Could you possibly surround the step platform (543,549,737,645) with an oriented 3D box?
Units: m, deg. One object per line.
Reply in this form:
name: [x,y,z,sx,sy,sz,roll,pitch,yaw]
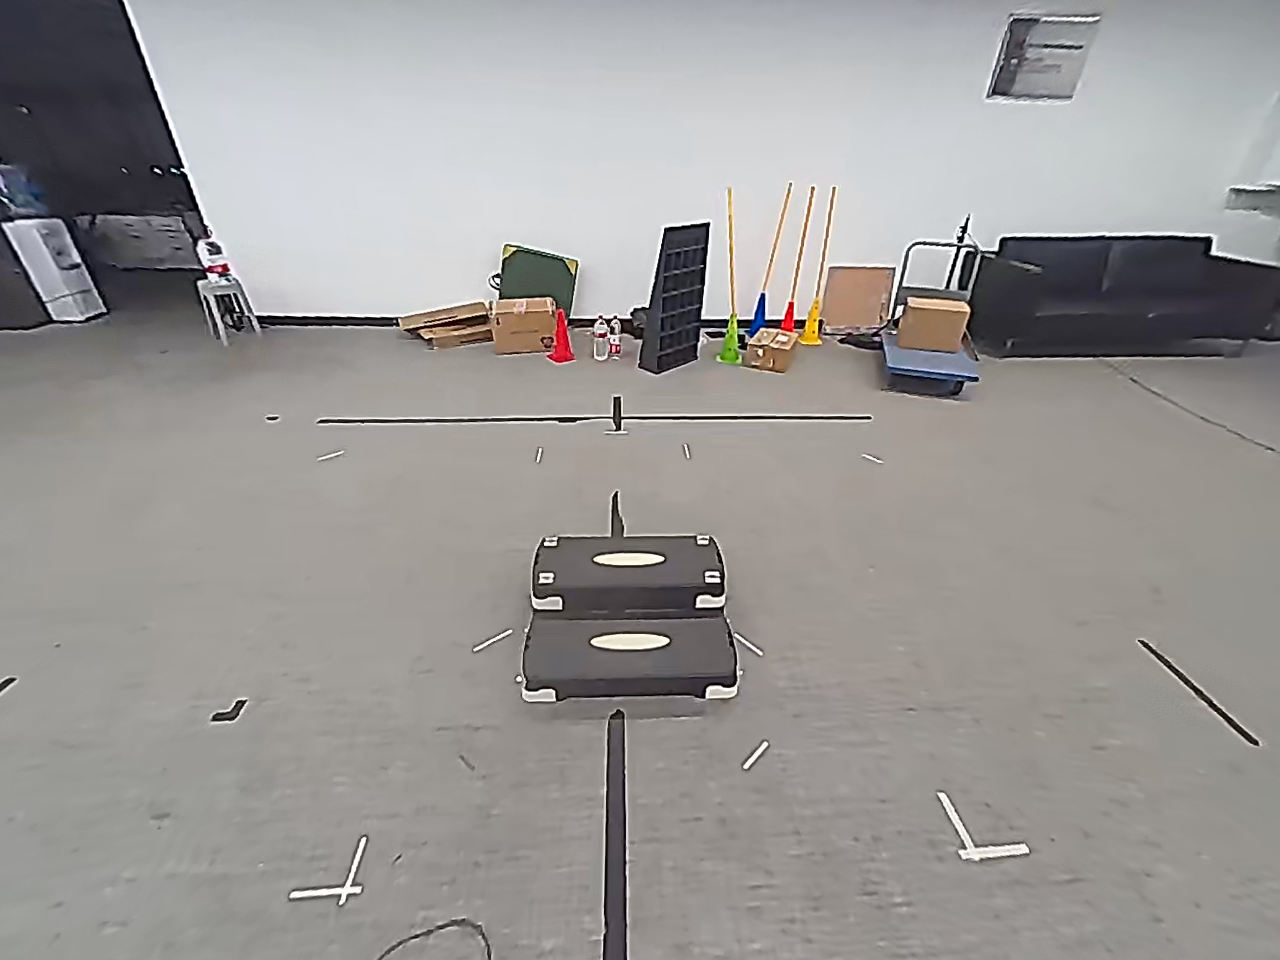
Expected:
step platform: [0.000,0.411,1.947,0.684,0.204,0.286,2,30,1]
